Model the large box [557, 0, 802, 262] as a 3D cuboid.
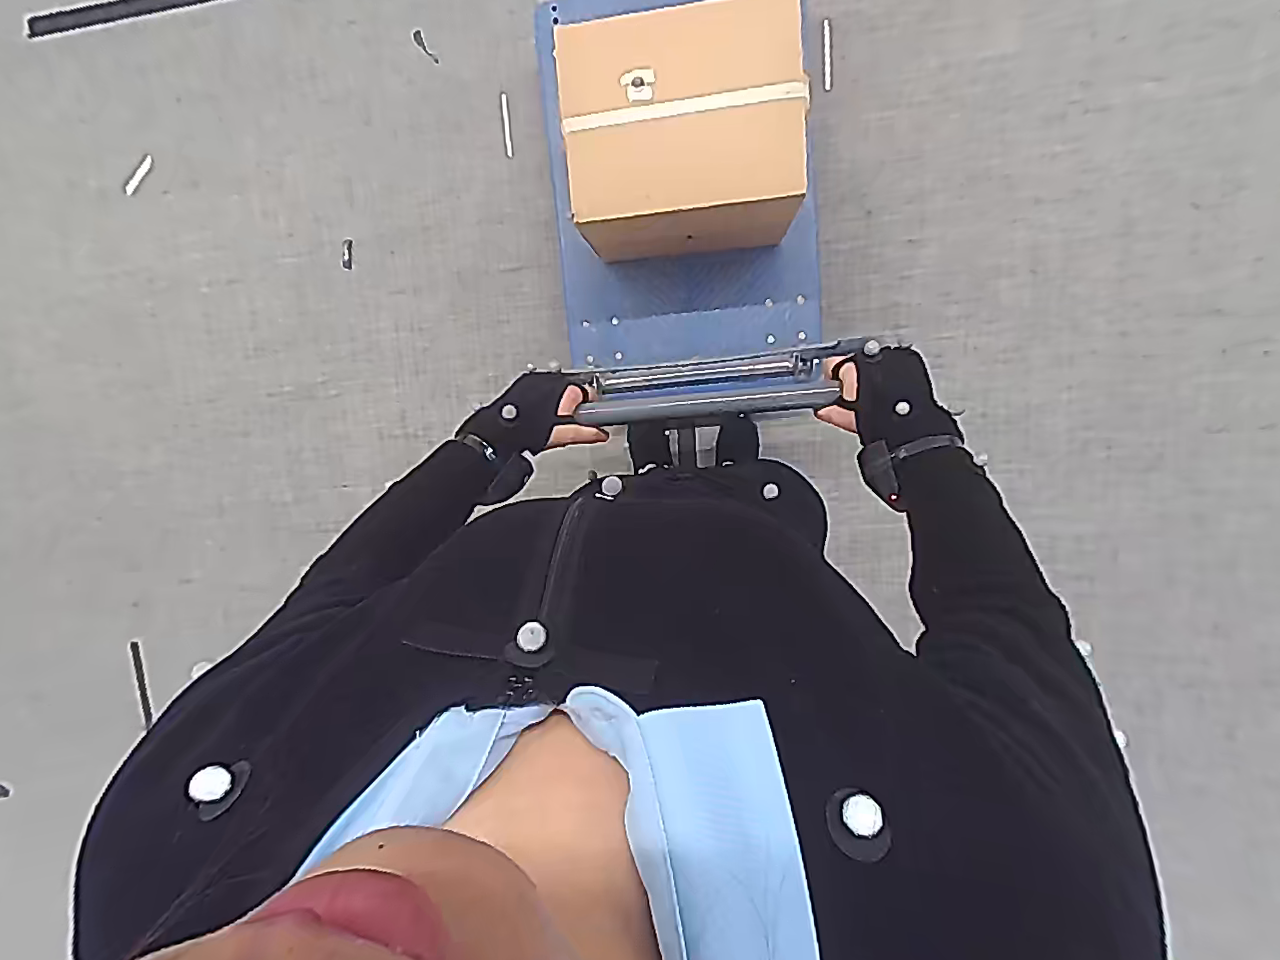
[{"bbox_3d":[0.086,-0.647,1.072,0.408,0.320,0.320,-4,98,8],"label":"large box"}]
